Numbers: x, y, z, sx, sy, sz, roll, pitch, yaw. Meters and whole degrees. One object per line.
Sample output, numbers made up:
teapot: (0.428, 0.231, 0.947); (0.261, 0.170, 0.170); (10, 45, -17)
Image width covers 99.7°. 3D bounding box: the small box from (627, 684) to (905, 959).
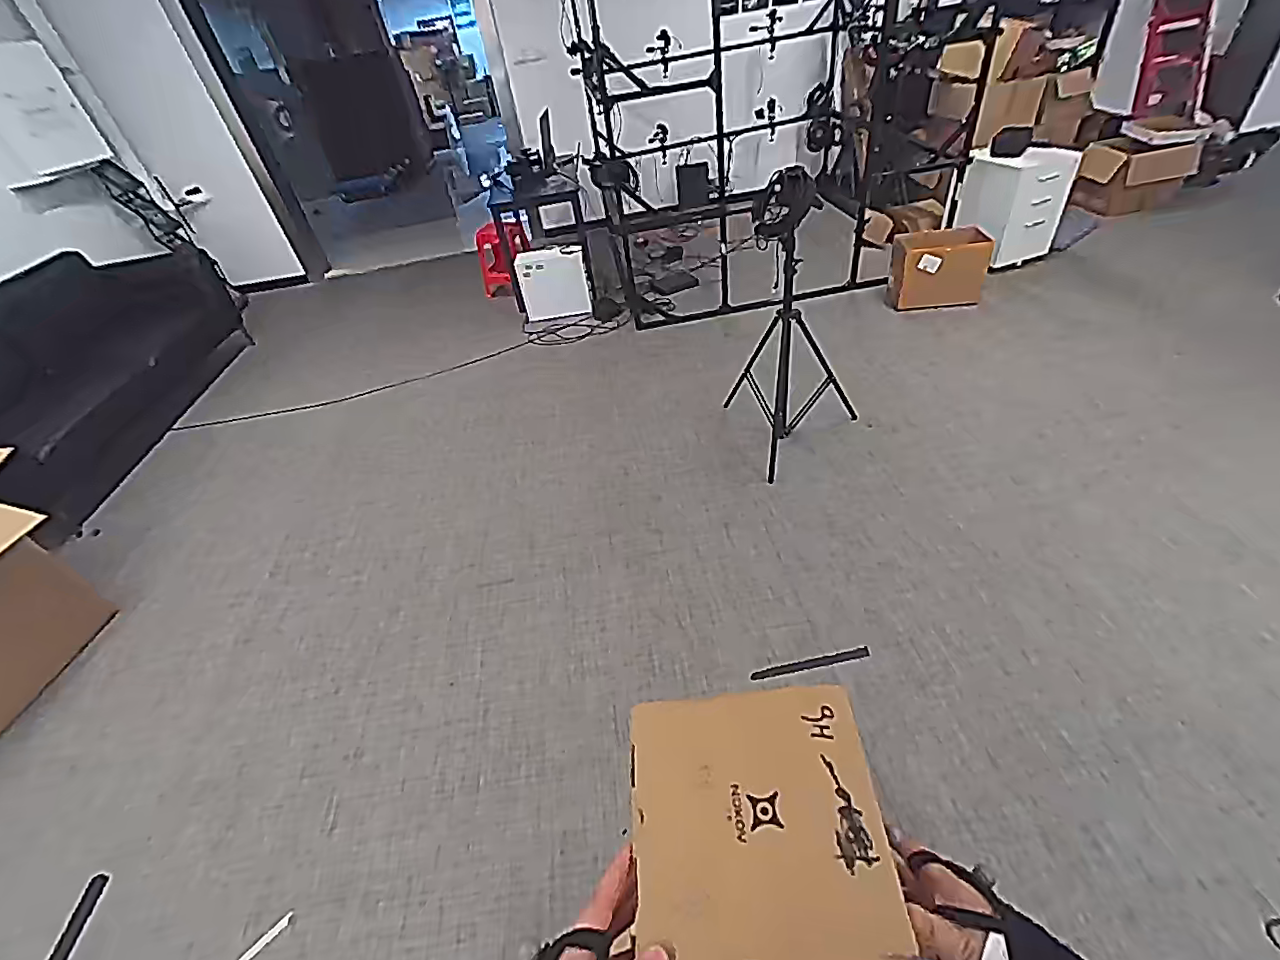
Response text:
small box: (0.092, 0.287, 0.449); (0.179, 0.176, 0.168); (-8, 49, 7)
